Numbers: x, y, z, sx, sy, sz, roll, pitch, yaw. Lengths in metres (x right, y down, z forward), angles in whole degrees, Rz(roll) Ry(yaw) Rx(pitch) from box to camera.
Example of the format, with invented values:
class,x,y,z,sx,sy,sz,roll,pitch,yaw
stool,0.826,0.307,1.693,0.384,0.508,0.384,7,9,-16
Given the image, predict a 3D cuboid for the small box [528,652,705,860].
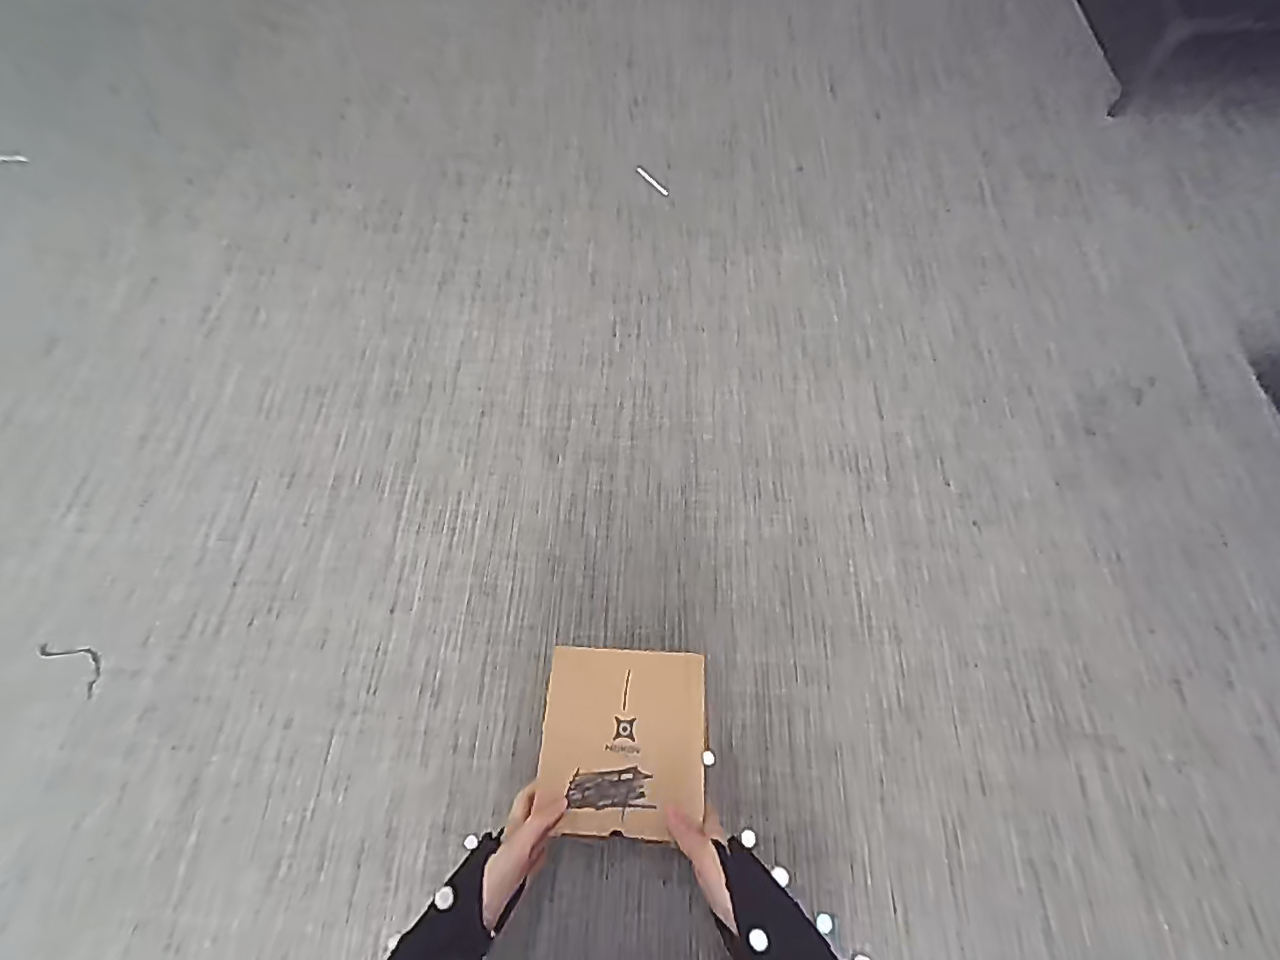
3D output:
class,x,y,z,sx,sy,sz,roll,pitch,yaw
small box,-0.016,0.302,0.608,0.168,0.176,0.179,3,63,3
